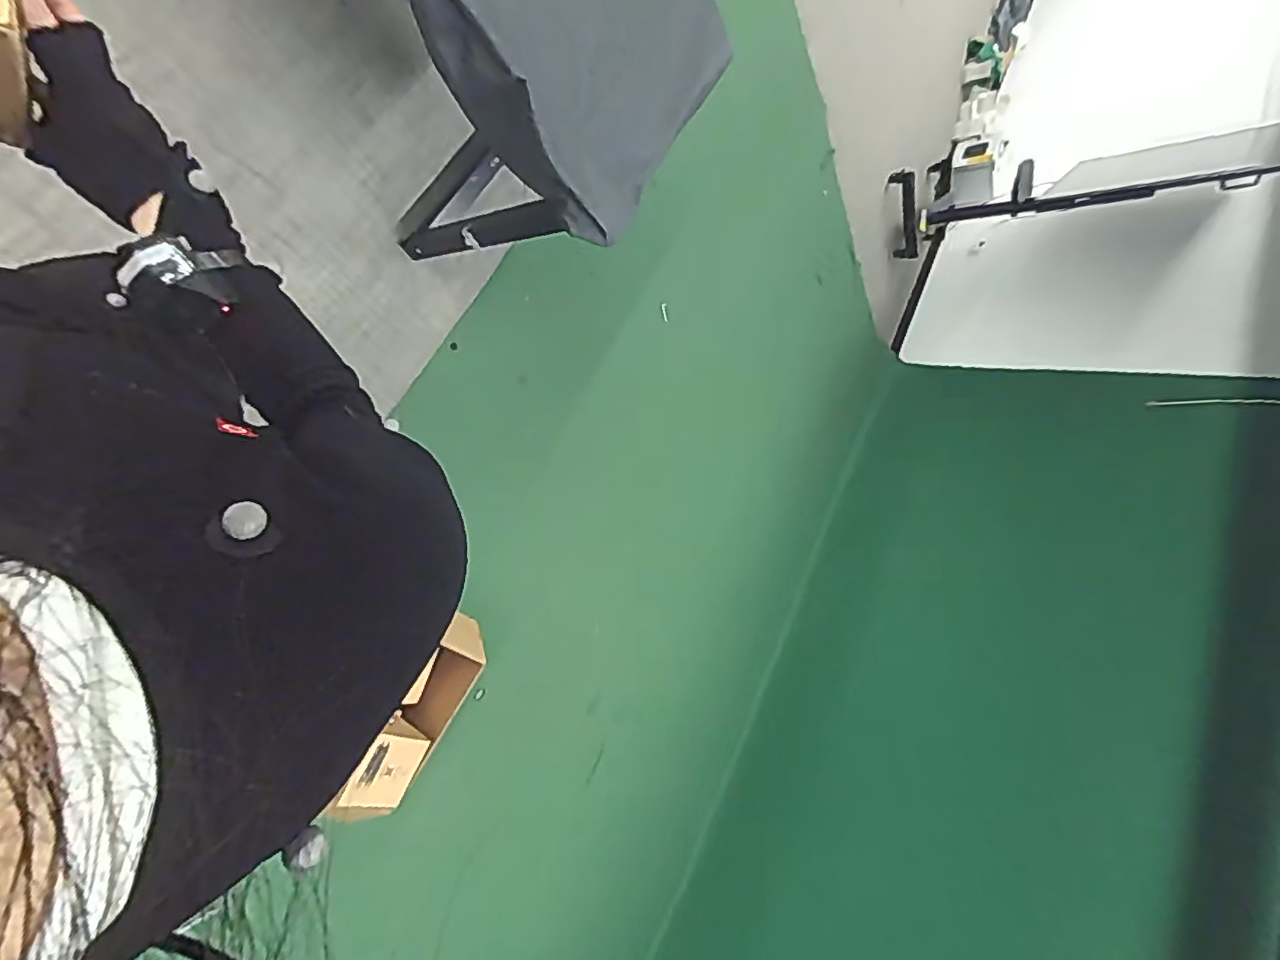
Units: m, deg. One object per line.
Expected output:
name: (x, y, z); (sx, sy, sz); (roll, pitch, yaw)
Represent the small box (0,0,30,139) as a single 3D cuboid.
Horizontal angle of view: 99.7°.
small box: (-0.467, -0.335, 0.298); (0.168, 0.176, 0.179); (-4, 97, -46)
